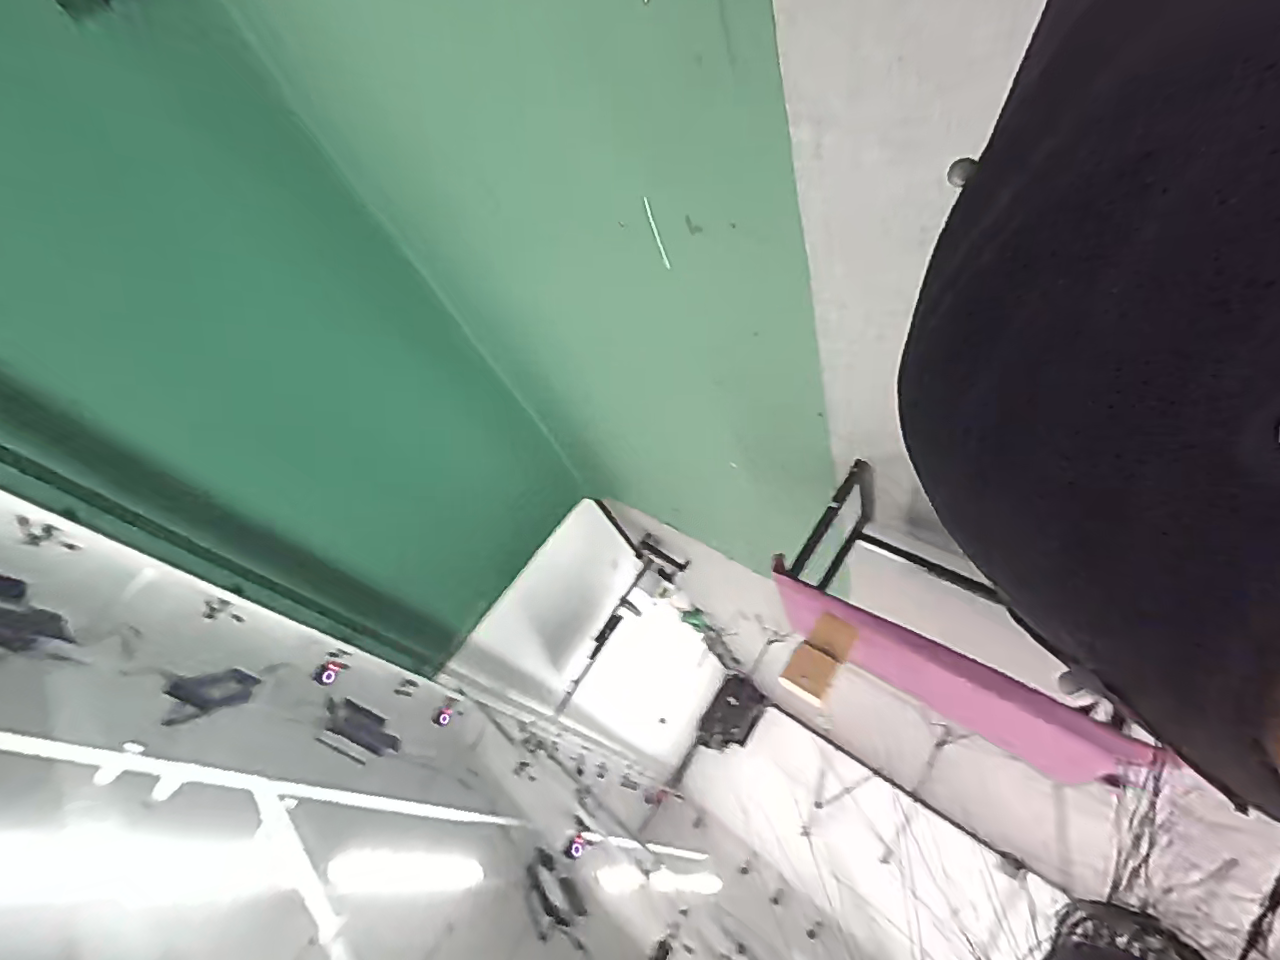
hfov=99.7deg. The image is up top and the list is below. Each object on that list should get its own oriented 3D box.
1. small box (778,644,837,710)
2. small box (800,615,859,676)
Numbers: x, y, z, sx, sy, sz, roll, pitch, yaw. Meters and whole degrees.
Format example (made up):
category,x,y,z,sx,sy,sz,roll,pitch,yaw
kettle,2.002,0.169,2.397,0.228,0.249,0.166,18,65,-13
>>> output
category,x,y,z,sx,sy,sz,roll,pitch,yaw
small box,0.675,0.785,2.163,0.179,0.176,0.168,26,159,31
small box,0.778,0.677,2.235,0.179,0.176,0.168,28,161,26
